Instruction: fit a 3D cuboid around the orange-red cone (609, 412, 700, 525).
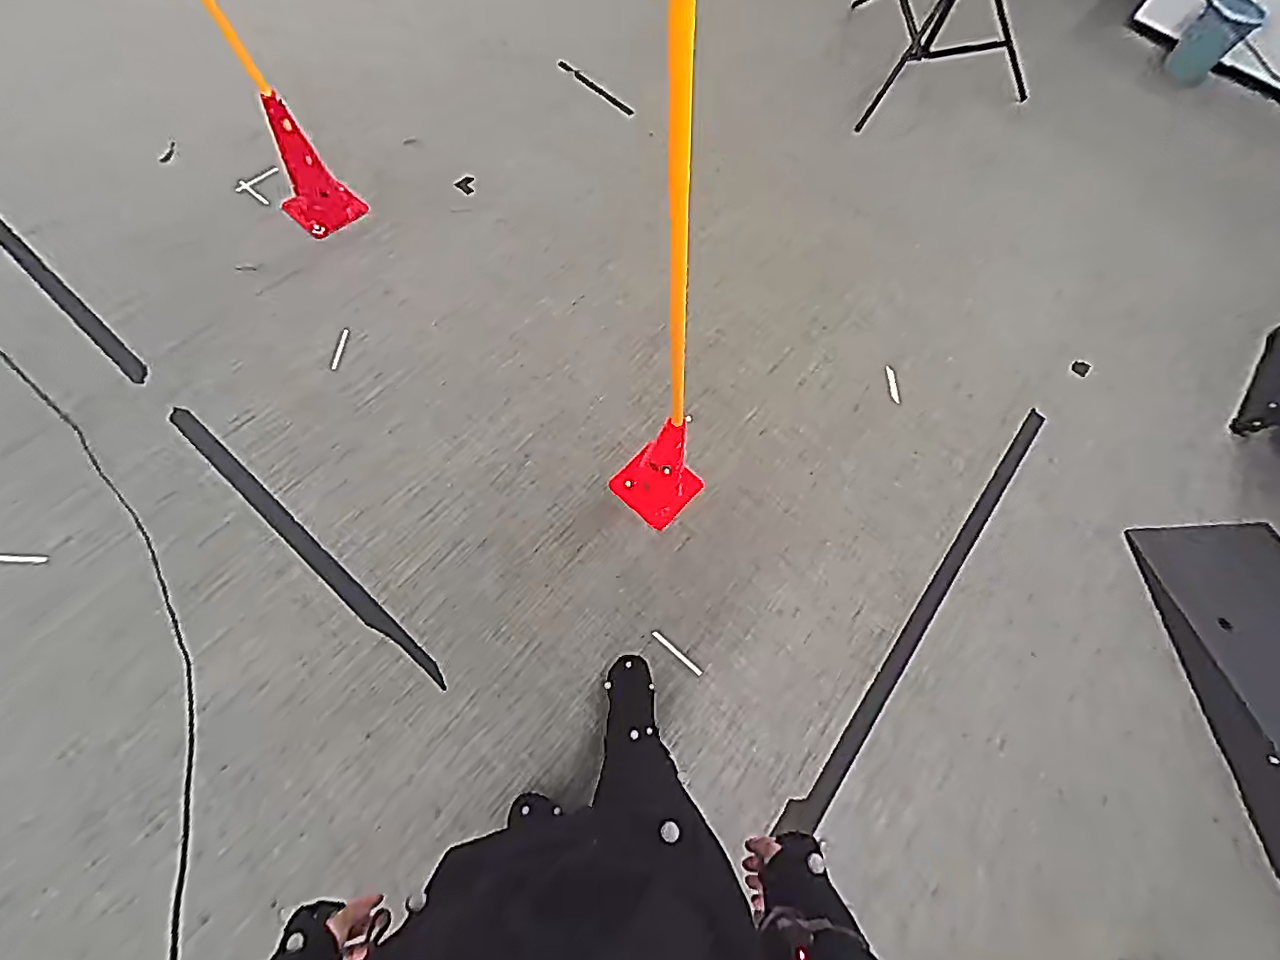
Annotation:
[{"bbox_3d":[0.059,-0.063,1.314,0.199,0.360,0.198,43,70,11],"label":"orange-red cone"}]
